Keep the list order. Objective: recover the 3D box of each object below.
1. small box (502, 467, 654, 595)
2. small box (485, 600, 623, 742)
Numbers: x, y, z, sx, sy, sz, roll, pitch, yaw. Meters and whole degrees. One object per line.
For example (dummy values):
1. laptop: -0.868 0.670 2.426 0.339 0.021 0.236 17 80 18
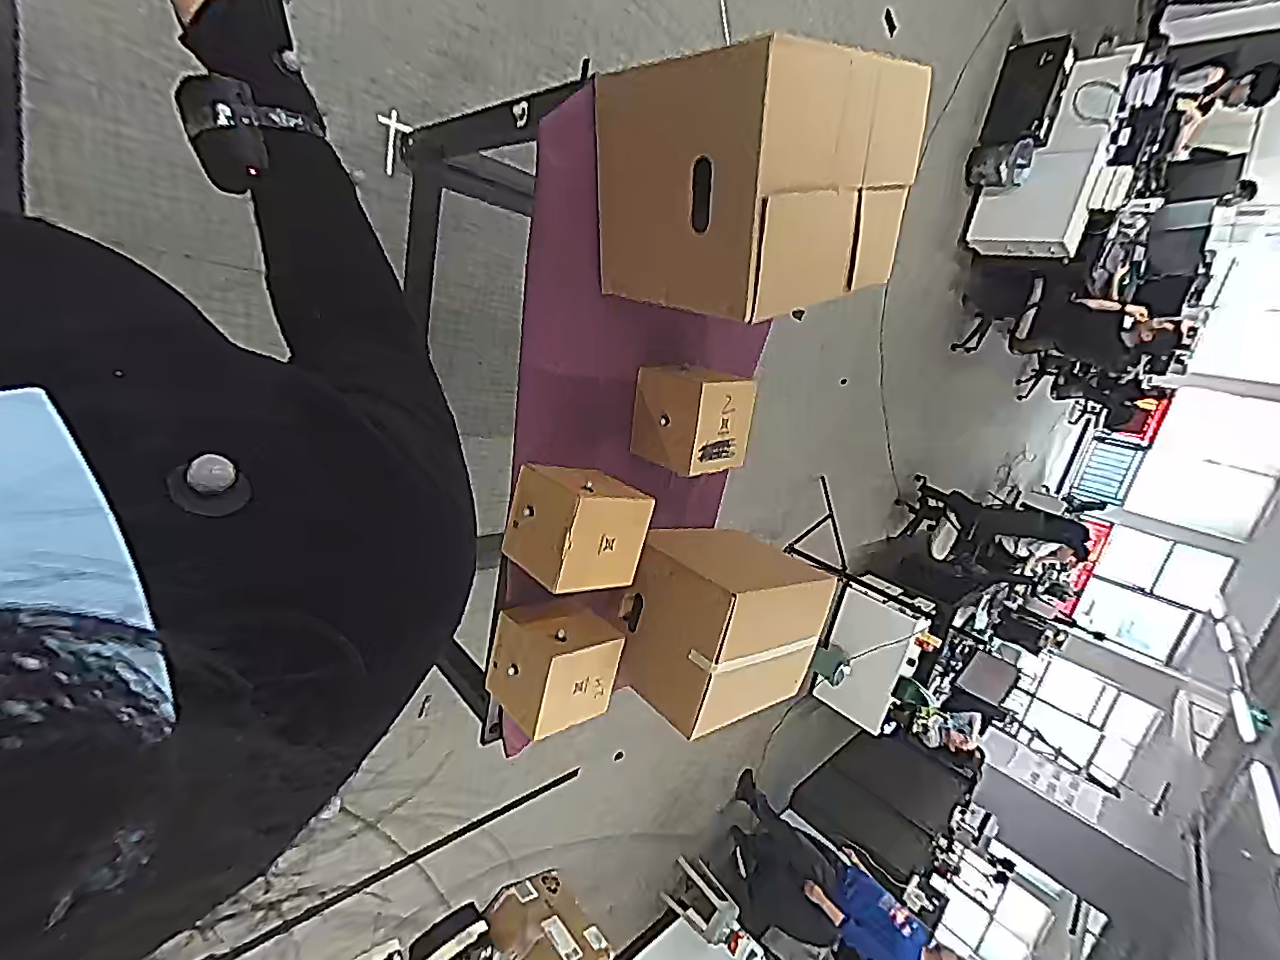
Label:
1. small box: -0.111 0.082 0.944 0.179 0.176 0.168 5 105 -46
2. small box: -0.164 0.344 1.011 0.179 0.176 0.168 1 108 -48
